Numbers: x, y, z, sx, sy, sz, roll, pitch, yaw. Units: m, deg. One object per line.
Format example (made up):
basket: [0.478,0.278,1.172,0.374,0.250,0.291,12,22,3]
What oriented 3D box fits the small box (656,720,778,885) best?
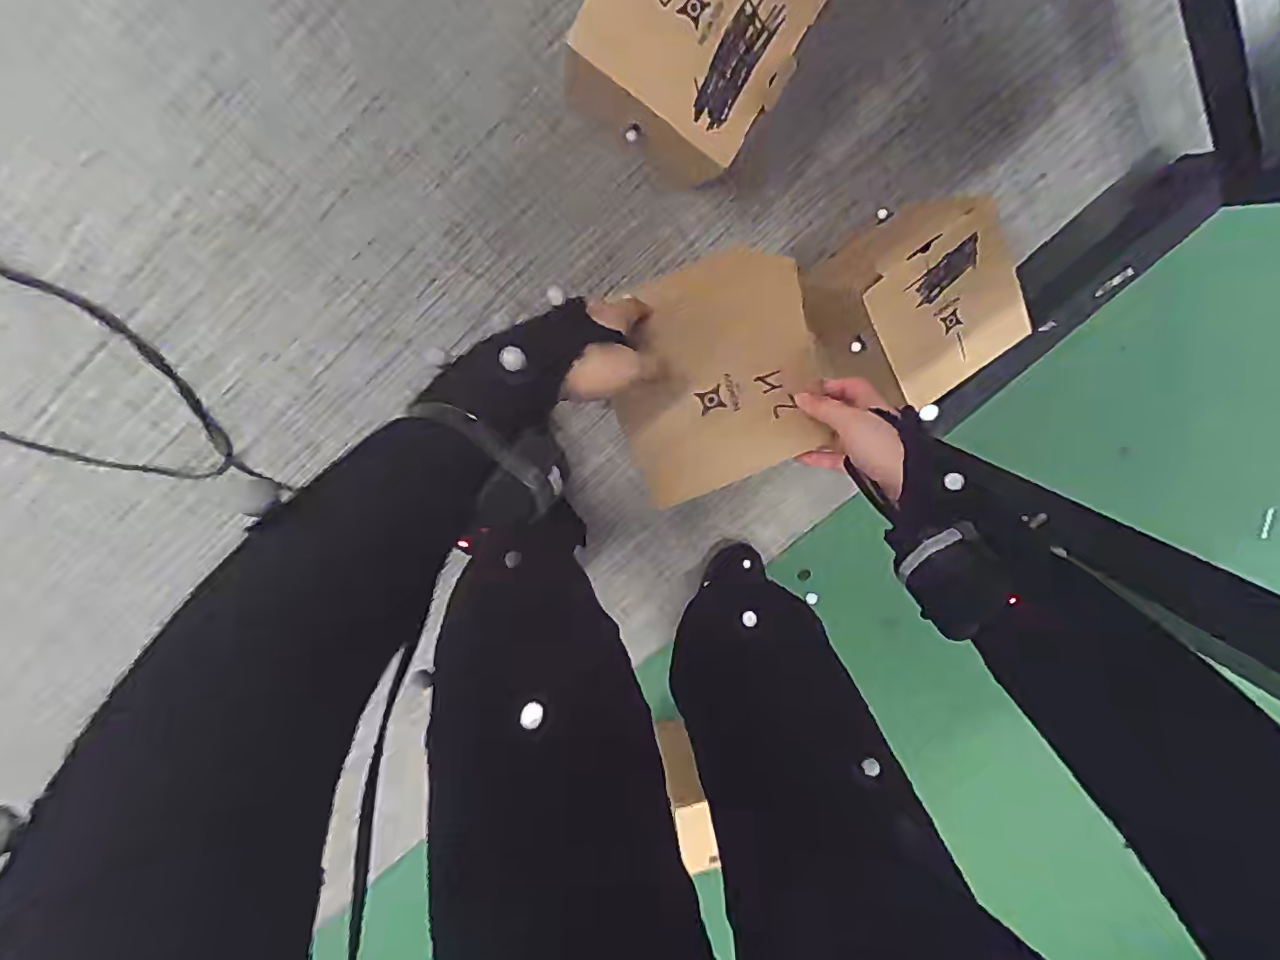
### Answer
small box: [0.128,0.546,0.940,0.168,0.176,0.179,-10,113,-7]

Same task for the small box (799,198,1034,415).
small box: [0.329,-0.212,0.670,0.168,0.176,0.179,-36,114,5]
